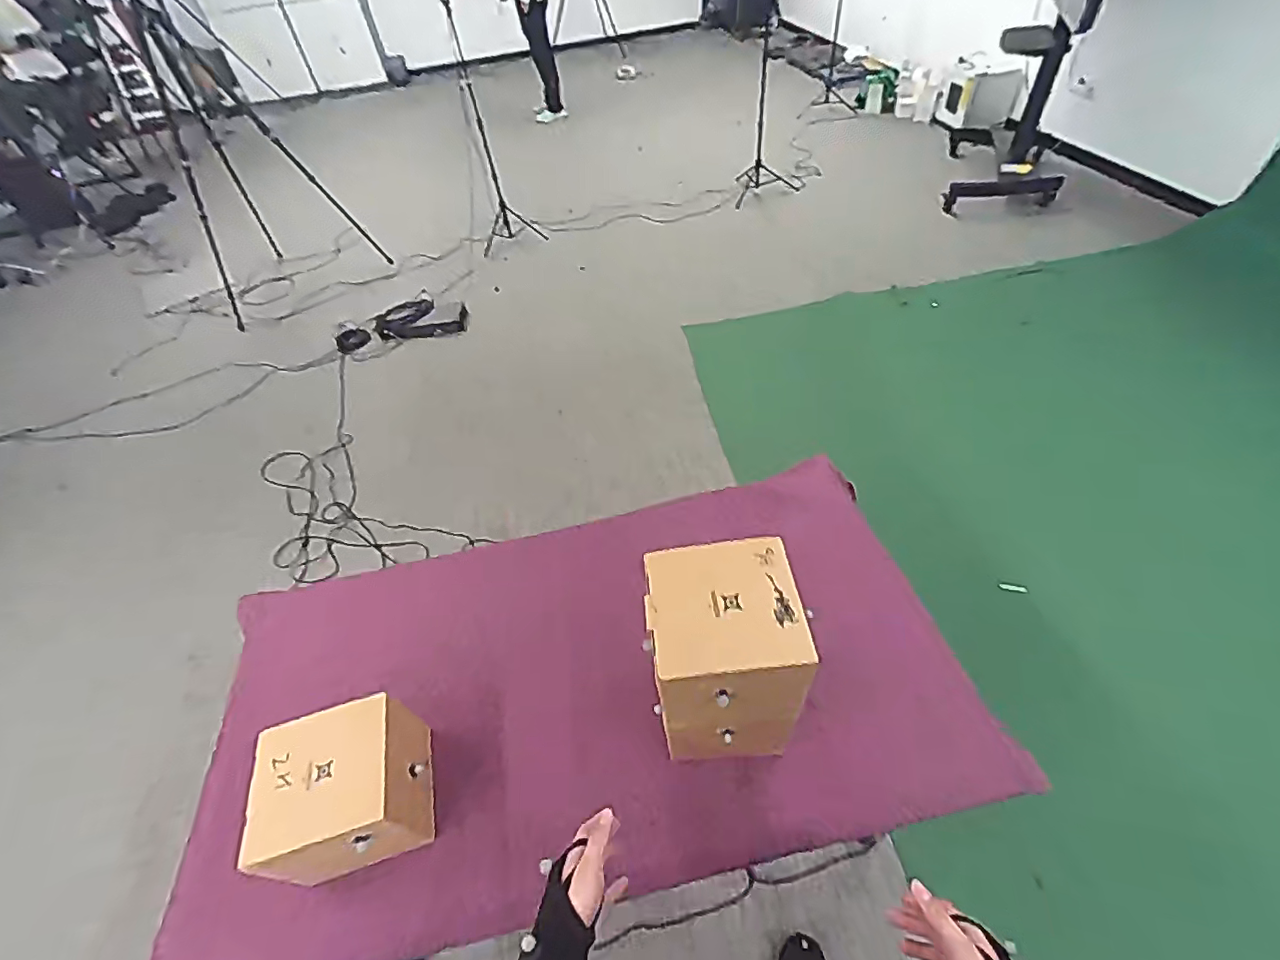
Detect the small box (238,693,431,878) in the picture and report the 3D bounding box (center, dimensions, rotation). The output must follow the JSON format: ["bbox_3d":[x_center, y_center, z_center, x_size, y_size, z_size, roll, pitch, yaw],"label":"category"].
[{"bbox_3d":[-0.406,0.429,0.758,0.179,0.176,0.168,-16,48,-7],"label":"small box"}]

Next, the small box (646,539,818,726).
[{"bbox_3d":[0.108,0.196,0.681,0.179,0.176,0.168,-7,49,2],"label":"small box"}]

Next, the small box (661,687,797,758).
[{"bbox_3d":[0.123,0.303,0.803,0.179,0.176,0.168,-4,48,3],"label":"small box"}]
